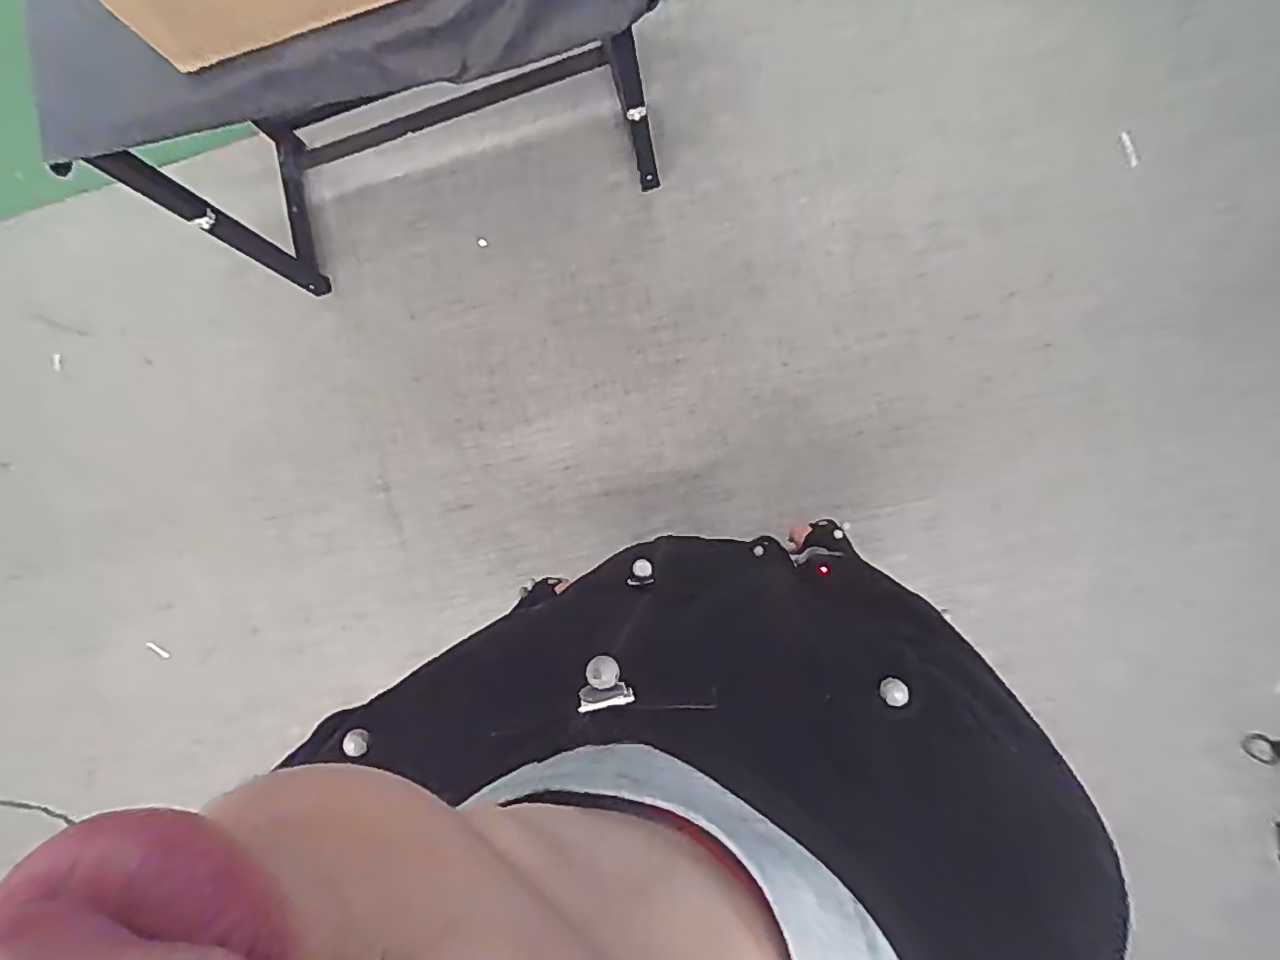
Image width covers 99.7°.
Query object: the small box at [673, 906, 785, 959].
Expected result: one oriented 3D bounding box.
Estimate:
[{"bbox_3d":[0.149,0.797,0.809,0.168,0.176,0.179,-16,85,6],"label":"small box"}]
